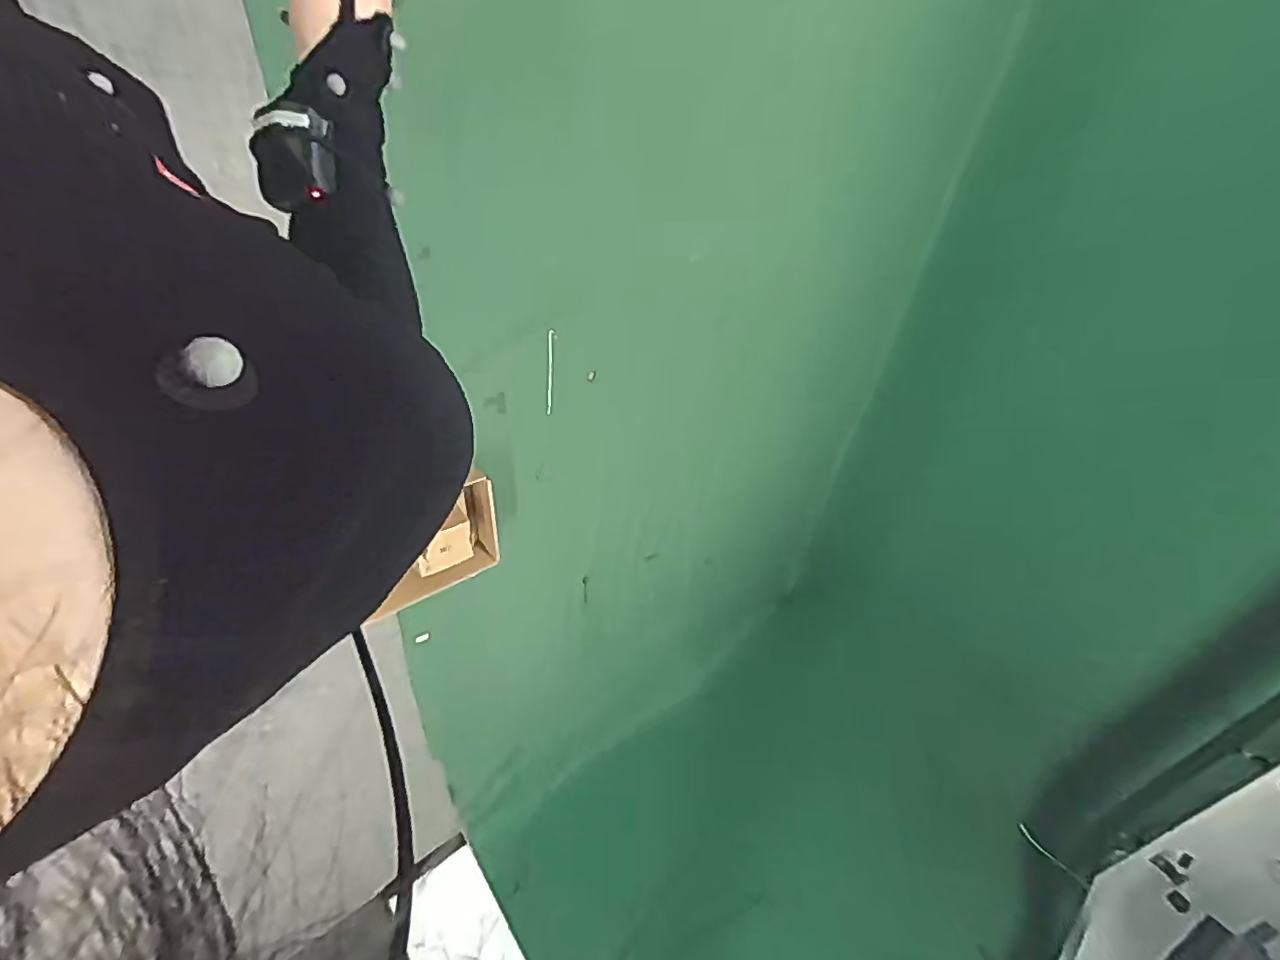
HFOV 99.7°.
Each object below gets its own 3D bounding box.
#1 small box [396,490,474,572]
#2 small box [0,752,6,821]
[{"bbox_3d":[-0.655,0.157,1.735,0.179,0.176,0.168,-22,137,-32],"label":"small box"},{"bbox_3d":[-1.441,0.631,1.090,0.168,0.176,0.179,-25,138,-34],"label":"small box"}]
